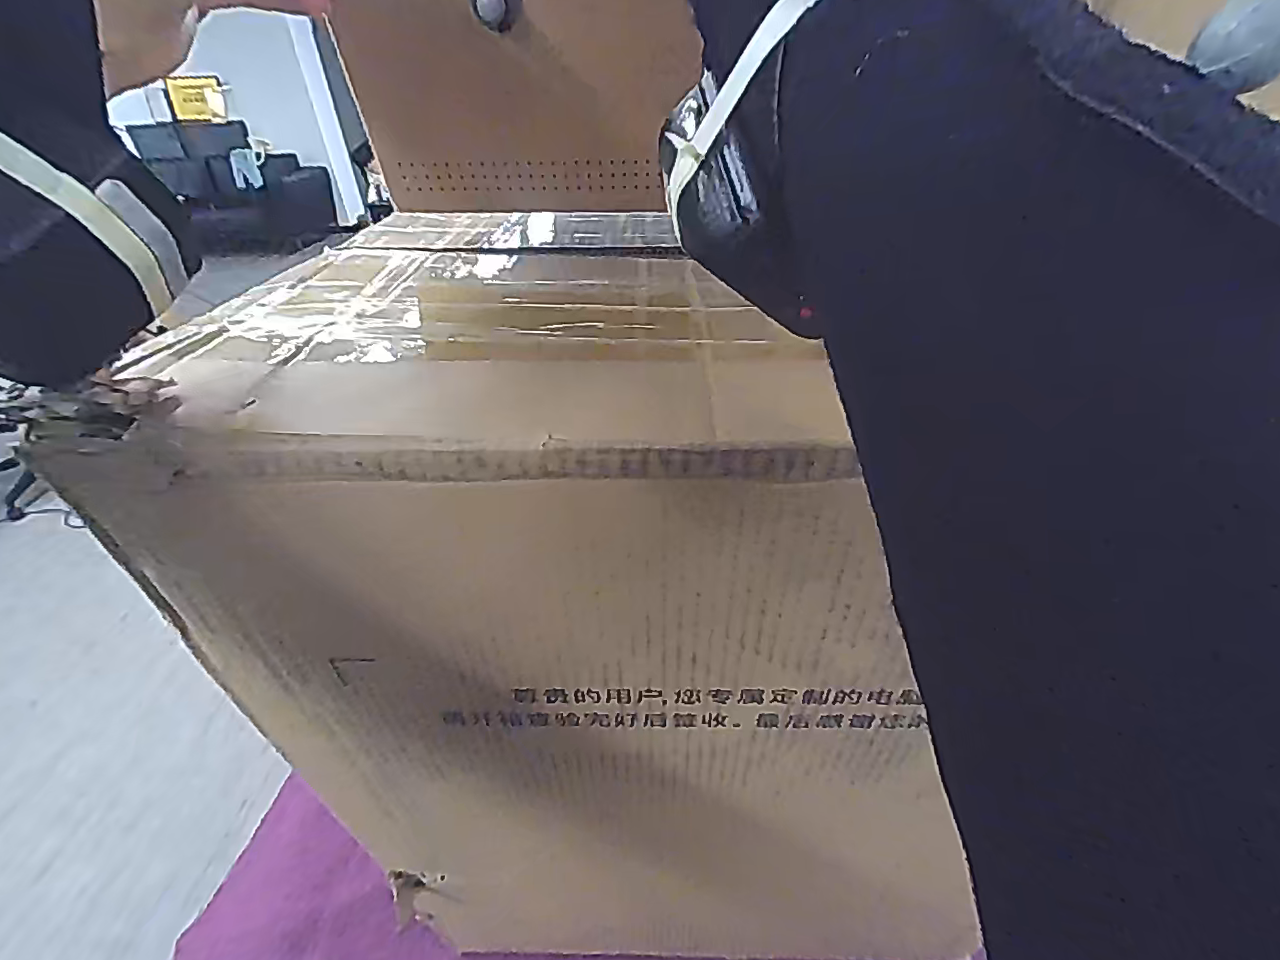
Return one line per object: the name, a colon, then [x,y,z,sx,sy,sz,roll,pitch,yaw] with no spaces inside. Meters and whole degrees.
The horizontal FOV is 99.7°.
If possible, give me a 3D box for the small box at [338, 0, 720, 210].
small box: [-0.047,-0.265,0.297,0.179,0.176,0.168,0,50,1]
